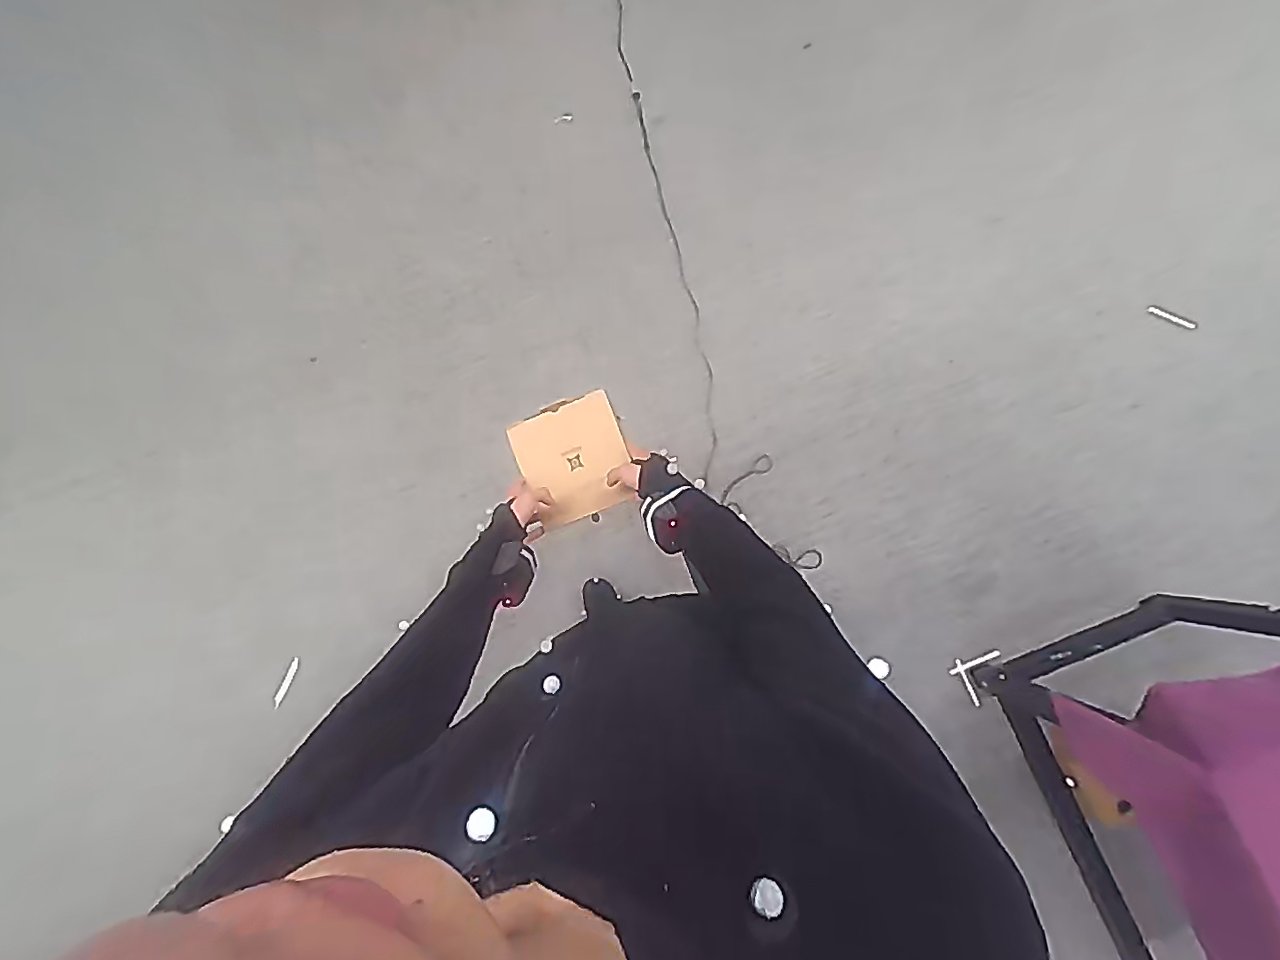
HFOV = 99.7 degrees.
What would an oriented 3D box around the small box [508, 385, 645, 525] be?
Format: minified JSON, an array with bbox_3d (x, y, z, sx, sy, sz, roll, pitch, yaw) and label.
[{"bbox_3d":[-0.096,-0.037,0.901,0.168,0.176,0.179,-21,90,2],"label":"small box"}]
